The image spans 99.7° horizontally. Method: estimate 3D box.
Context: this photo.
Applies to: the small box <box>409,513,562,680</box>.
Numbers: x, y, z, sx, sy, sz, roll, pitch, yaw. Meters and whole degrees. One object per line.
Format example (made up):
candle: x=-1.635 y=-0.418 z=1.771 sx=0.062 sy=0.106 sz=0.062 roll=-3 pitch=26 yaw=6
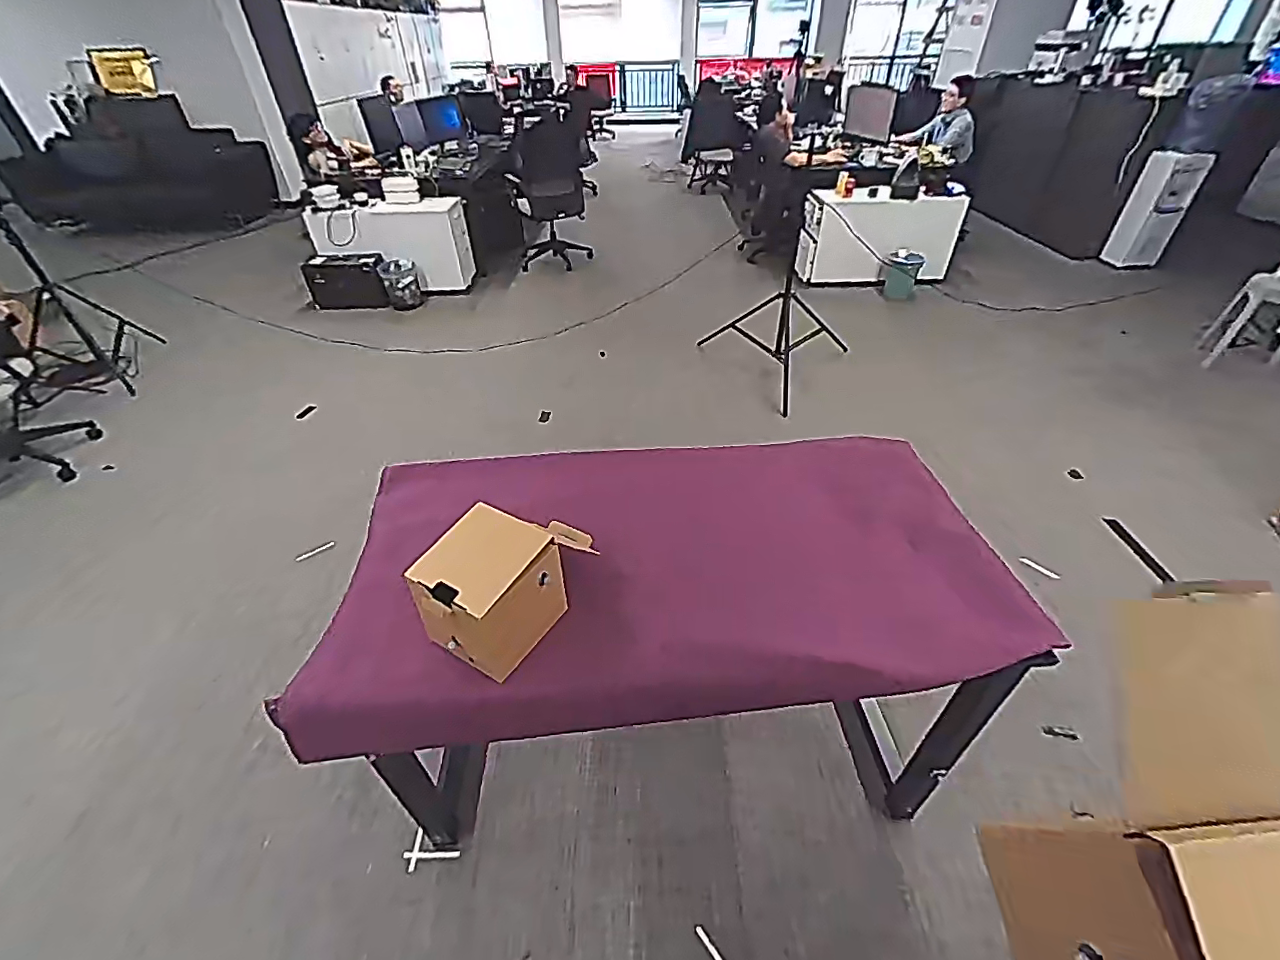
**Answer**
small box: x=-0.244 y=0.191 z=0.900 sx=0.168 sy=0.176 sz=0.179 roll=20 pitch=43 yaw=25
